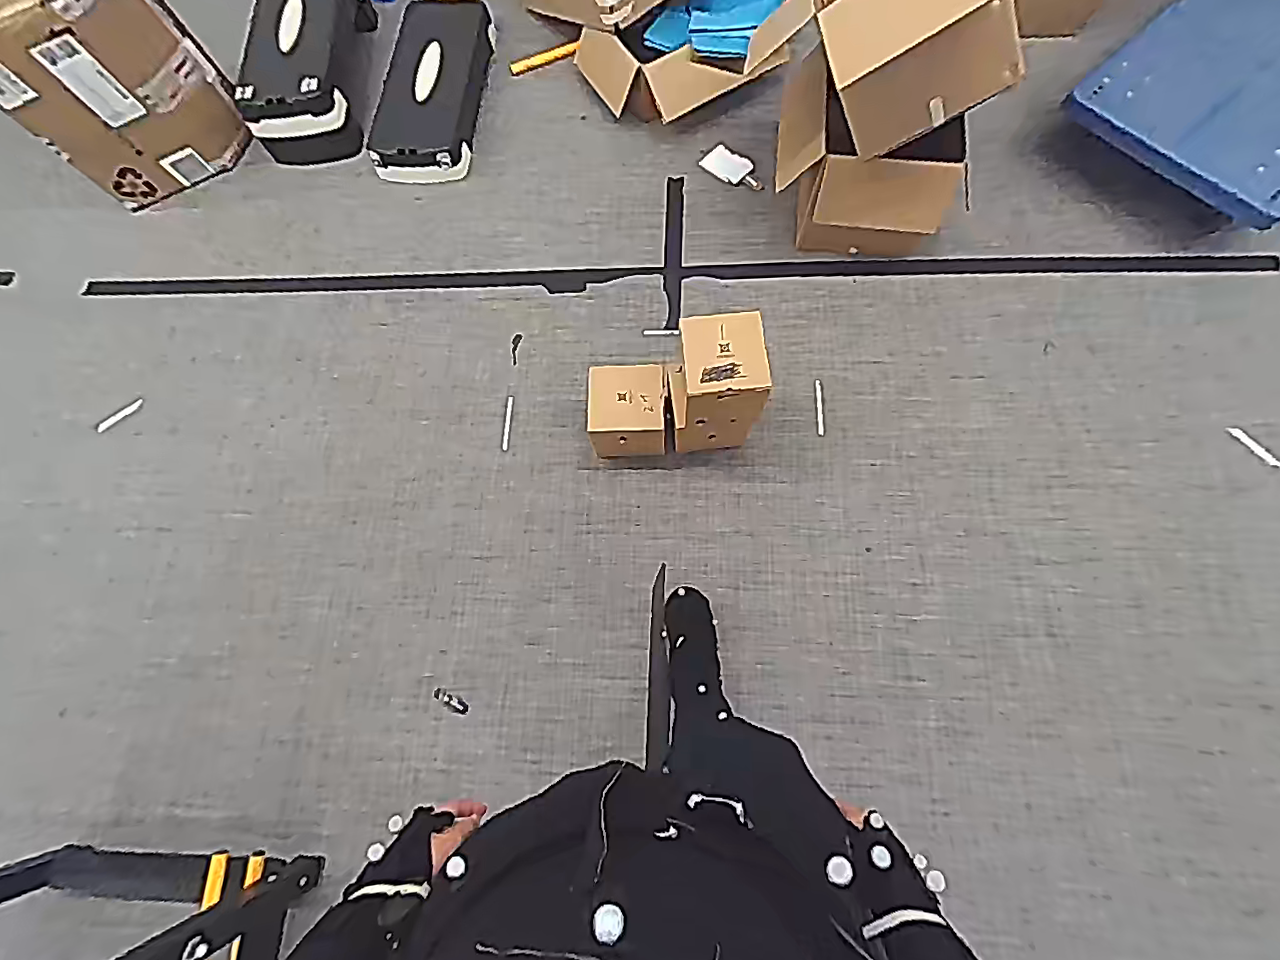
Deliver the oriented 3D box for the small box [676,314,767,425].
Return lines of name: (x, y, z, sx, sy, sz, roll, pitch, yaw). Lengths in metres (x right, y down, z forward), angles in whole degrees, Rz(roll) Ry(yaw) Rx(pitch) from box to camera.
small box: (0.166, -0.225, 1.147, 0.168, 0.176, 0.179, -5, 72, 1)
